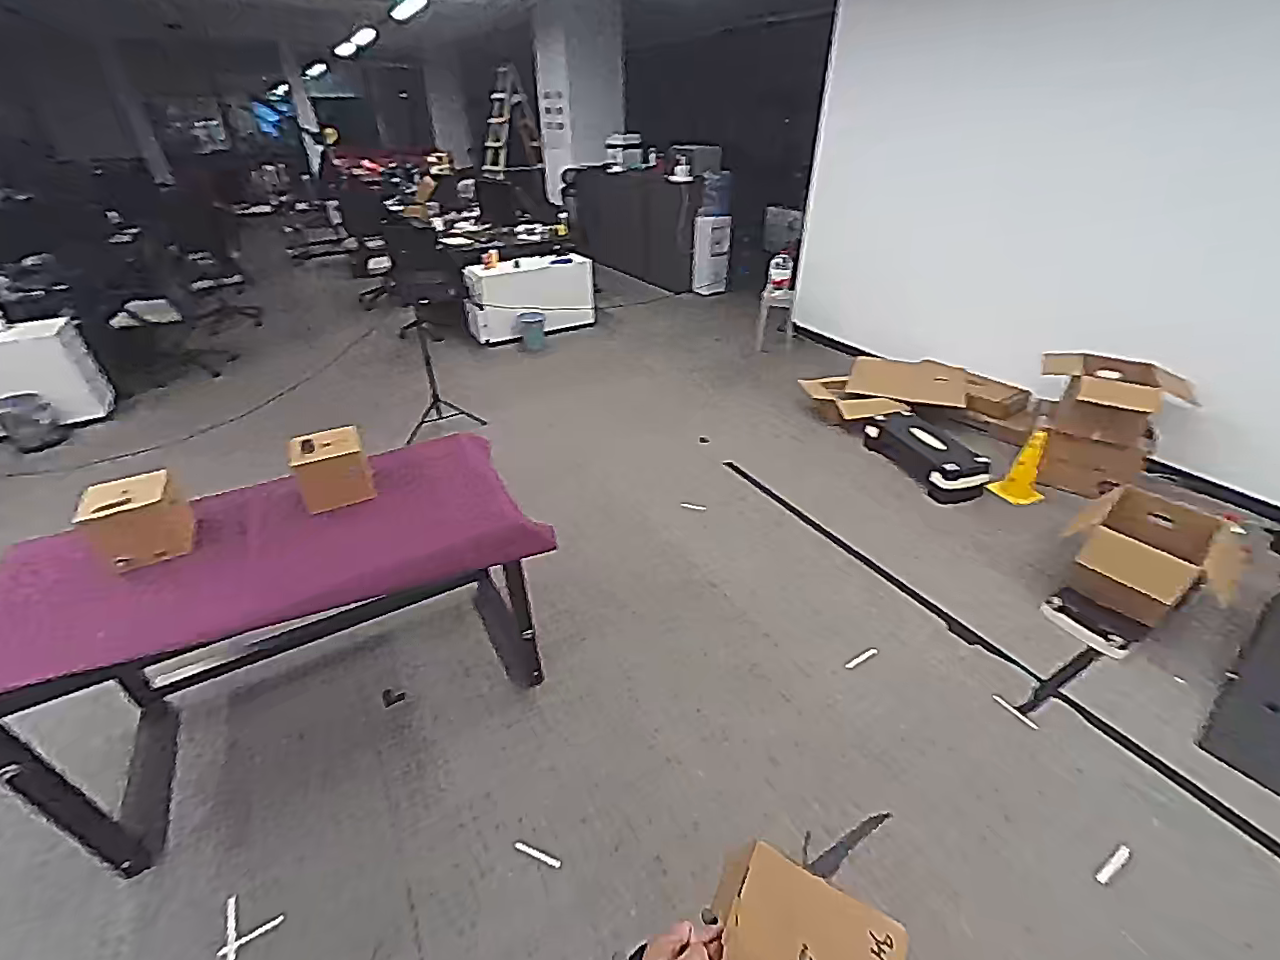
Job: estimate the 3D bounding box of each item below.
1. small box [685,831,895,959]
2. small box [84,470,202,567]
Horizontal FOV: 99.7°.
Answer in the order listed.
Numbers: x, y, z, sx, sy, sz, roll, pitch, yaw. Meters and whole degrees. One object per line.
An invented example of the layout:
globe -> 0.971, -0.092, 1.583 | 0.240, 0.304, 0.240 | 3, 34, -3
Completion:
small box -> 0.155, 0.540, 0.609 | 0.179, 0.176, 0.168 | 23, 51, 15
small box -> -1.275, 0.104, 1.402 | 0.168, 0.176, 0.179 | -19, 38, -25
